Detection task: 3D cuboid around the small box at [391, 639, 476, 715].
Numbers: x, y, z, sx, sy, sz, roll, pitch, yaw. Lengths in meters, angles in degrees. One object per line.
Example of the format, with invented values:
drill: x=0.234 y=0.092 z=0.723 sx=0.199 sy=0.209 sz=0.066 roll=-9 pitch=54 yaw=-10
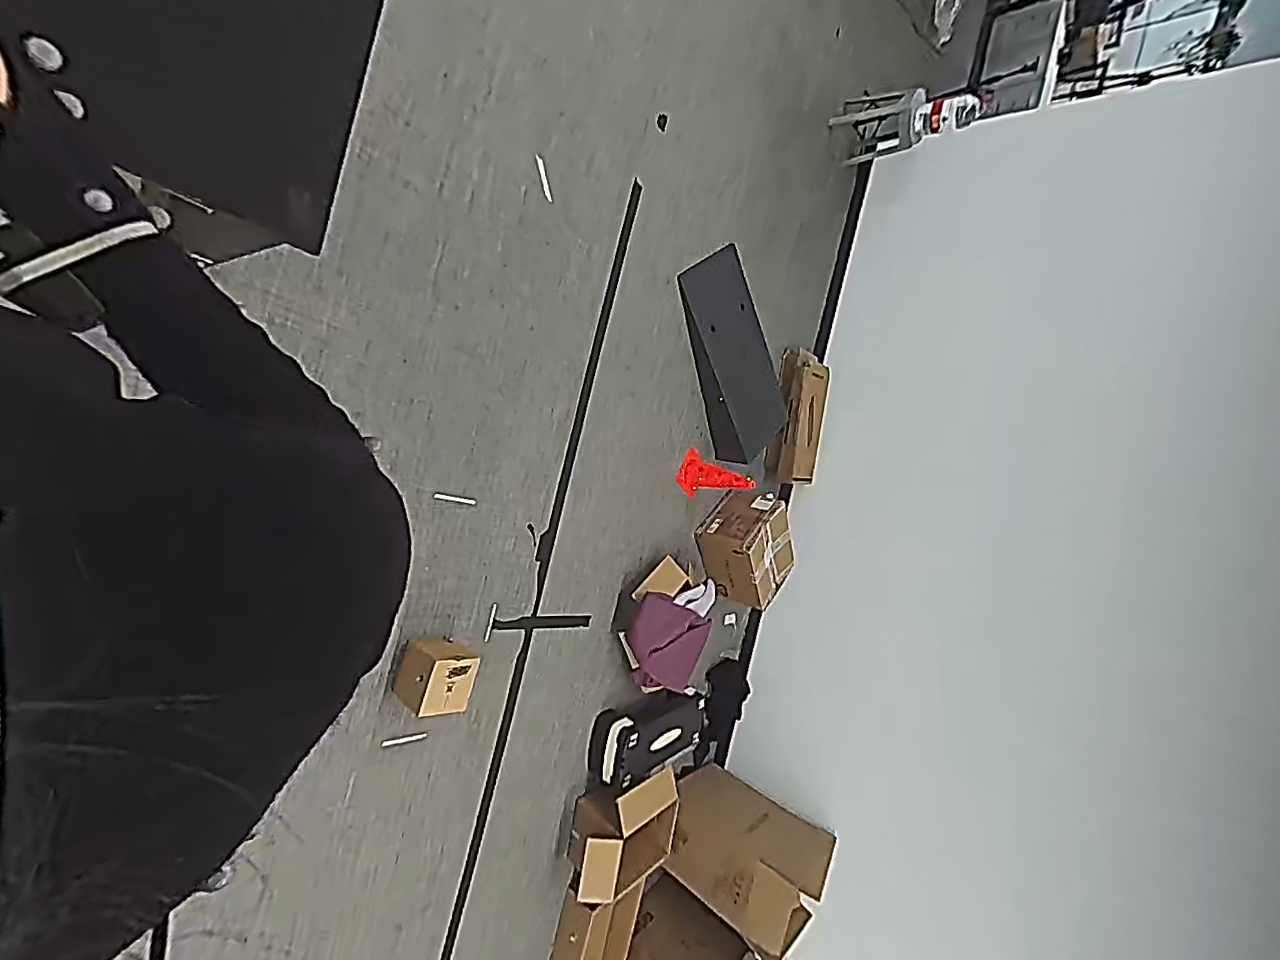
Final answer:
small box: x=-0.654 y=0.610 z=1.701 sx=0.168 sy=0.176 sz=0.179 roll=20 pitch=85 yaw=-51
